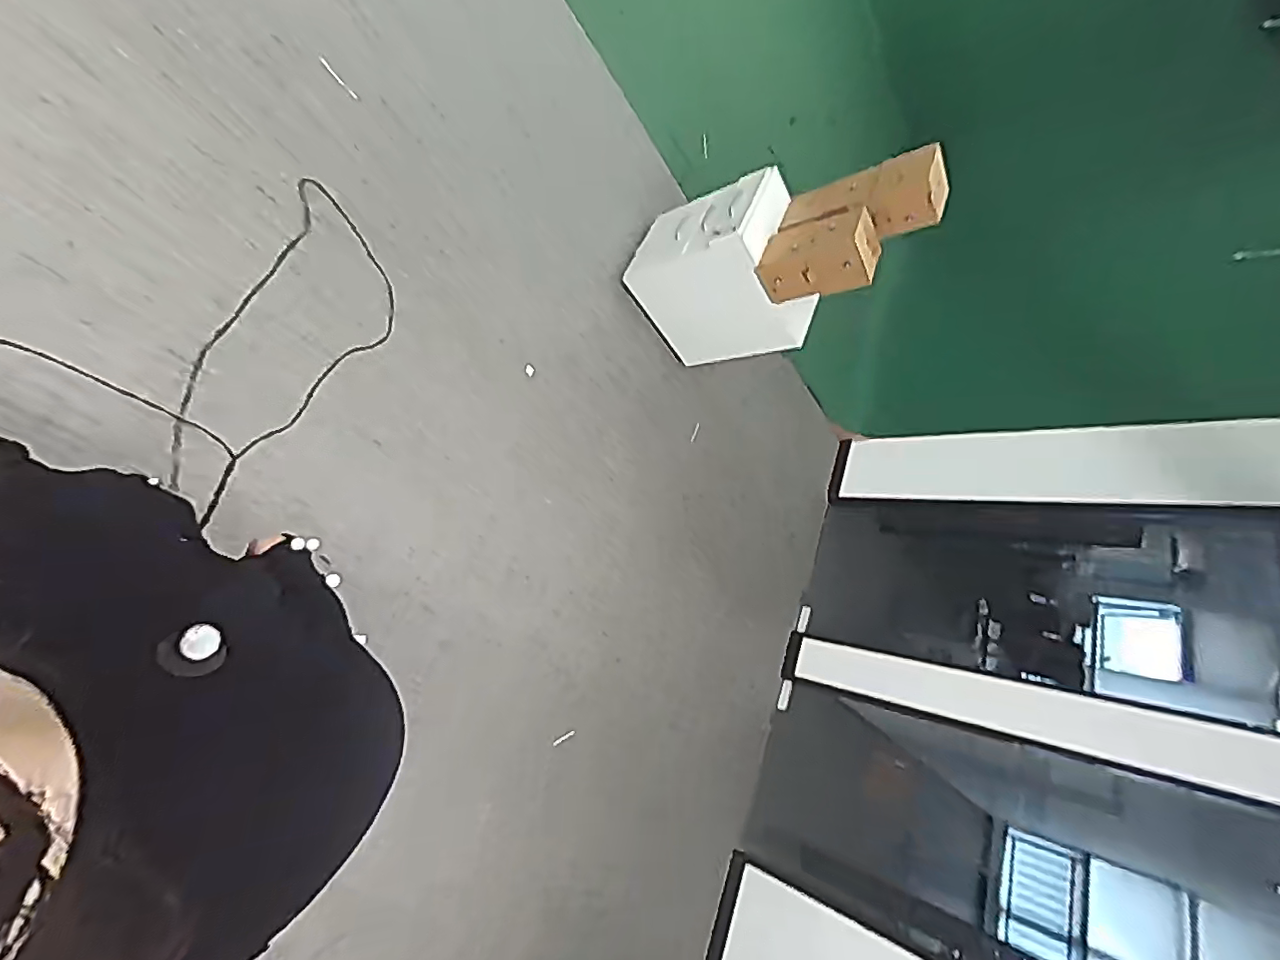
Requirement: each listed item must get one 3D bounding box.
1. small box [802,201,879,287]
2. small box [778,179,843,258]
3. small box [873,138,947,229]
[{"bbox_3d":[0.641,-0.747,1.733,0.179,0.176,0.168,46,59,-39],"label":"small box"},{"bbox_3d":[0.619,-0.936,1.947,0.168,0.176,0.179,44,62,-39],"label":"small box"},{"bbox_3d":[0.856,-0.934,1.719,0.168,0.176,0.179,46,59,-40],"label":"small box"}]
